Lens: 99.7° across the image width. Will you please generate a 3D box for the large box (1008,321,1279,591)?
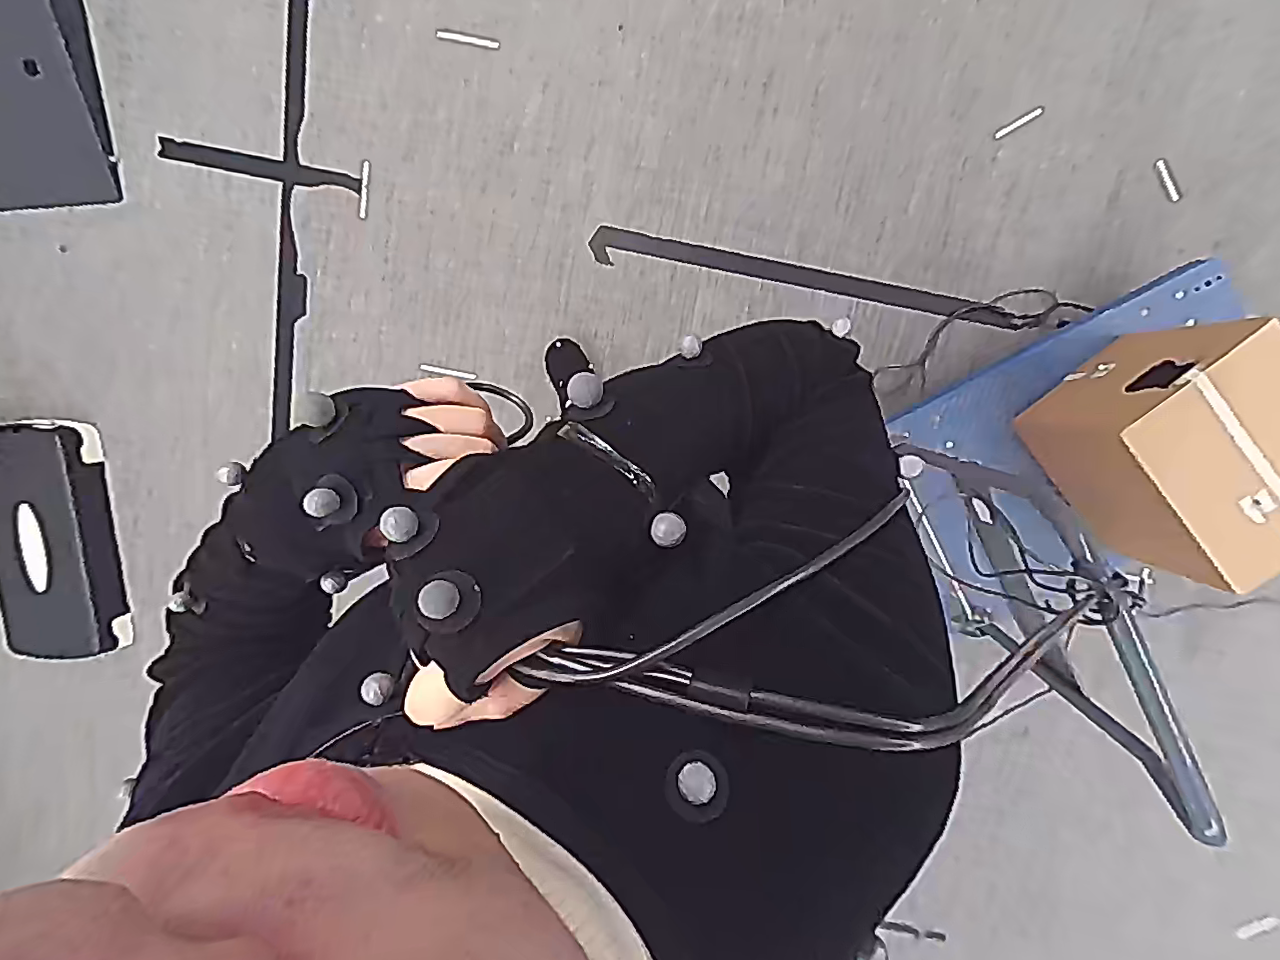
[{"bbox_3d":[1.089,-0.058,1.116,0.320,0.320,0.408,-40,97,8],"label":"large box"}]
